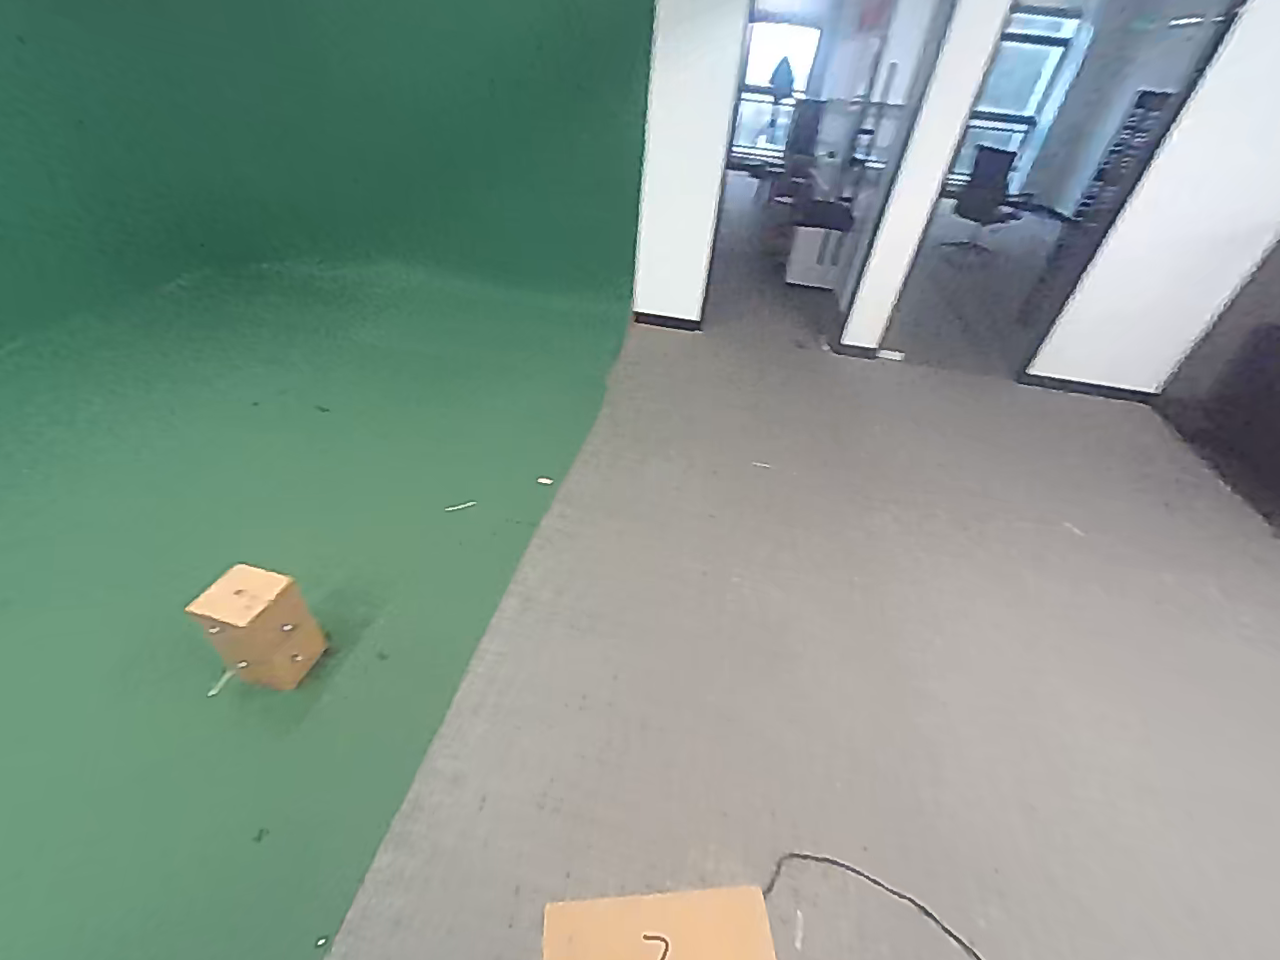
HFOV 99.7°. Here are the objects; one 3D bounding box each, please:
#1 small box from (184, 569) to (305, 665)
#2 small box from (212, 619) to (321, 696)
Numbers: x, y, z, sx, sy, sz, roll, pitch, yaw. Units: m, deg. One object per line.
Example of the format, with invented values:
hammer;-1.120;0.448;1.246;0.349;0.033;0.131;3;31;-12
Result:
small box;-1.056;0.372;1.459;0.179;0.176;0.168;13;40;8
small box;-1.068;0.499;1.565;0.179;0.176;0.168;10;39;7
